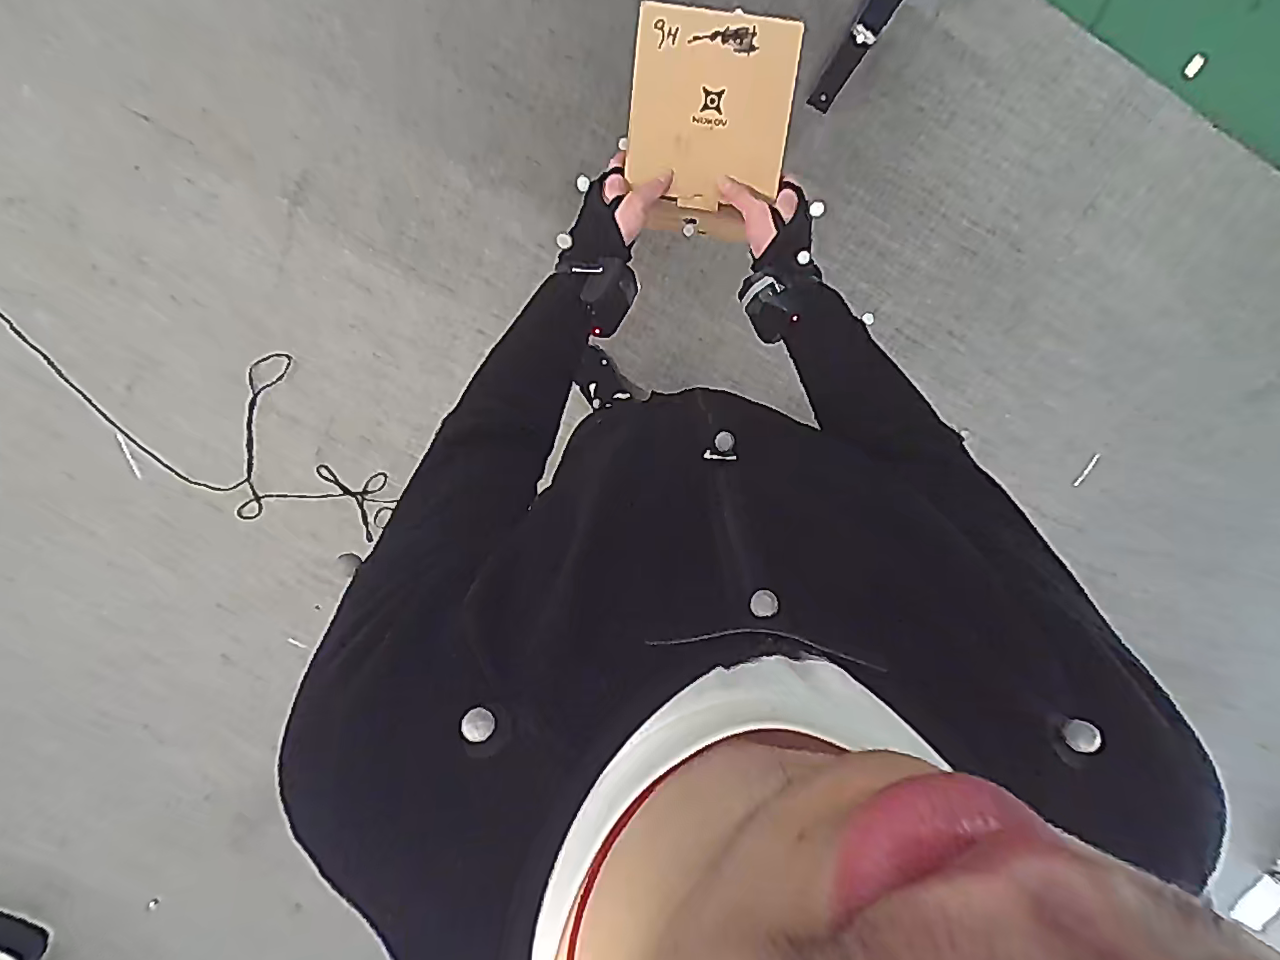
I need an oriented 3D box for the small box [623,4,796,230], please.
[{"bbox_3d":[0.071,-0.404,0.636,0.168,0.176,0.179,4,104,0],"label":"small box"}]
